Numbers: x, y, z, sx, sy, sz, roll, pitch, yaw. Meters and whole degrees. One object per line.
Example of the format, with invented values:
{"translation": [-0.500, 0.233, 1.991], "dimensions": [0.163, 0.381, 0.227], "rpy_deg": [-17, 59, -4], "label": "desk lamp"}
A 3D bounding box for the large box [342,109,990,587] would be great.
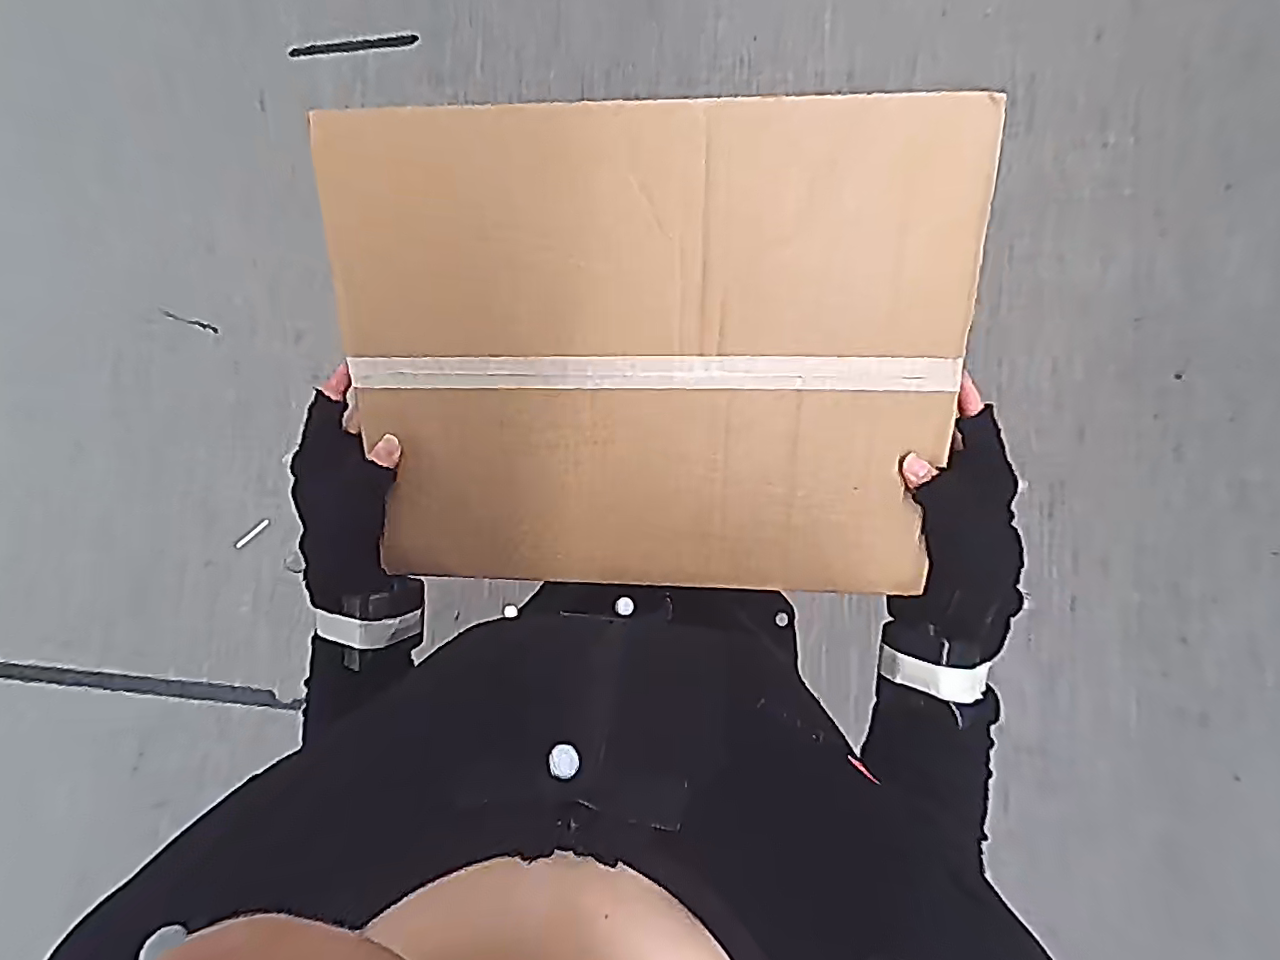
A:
{"translation": [0.016, -0.114, 0.511], "dimensions": [0.408, 0.320, 0.320], "rpy_deg": [2, 108, 5], "label": "large box"}
